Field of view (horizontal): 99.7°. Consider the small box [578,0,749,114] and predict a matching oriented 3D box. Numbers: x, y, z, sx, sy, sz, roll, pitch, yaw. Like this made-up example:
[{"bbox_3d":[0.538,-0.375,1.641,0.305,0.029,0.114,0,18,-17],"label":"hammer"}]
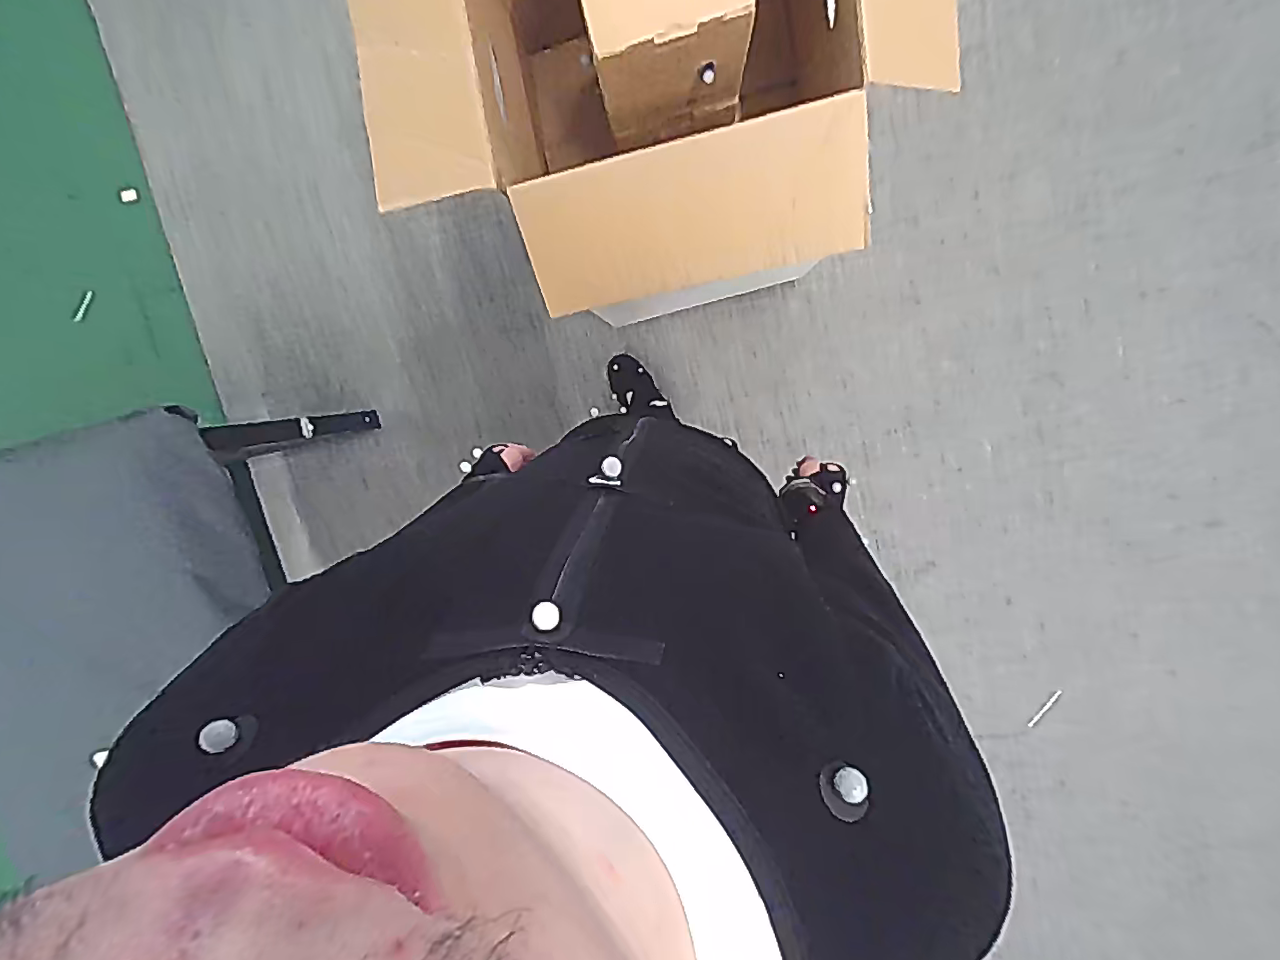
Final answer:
[{"bbox_3d":[0.014,-0.532,0.581,0.168,0.176,0.179,-14,98,5],"label":"small box"}]
